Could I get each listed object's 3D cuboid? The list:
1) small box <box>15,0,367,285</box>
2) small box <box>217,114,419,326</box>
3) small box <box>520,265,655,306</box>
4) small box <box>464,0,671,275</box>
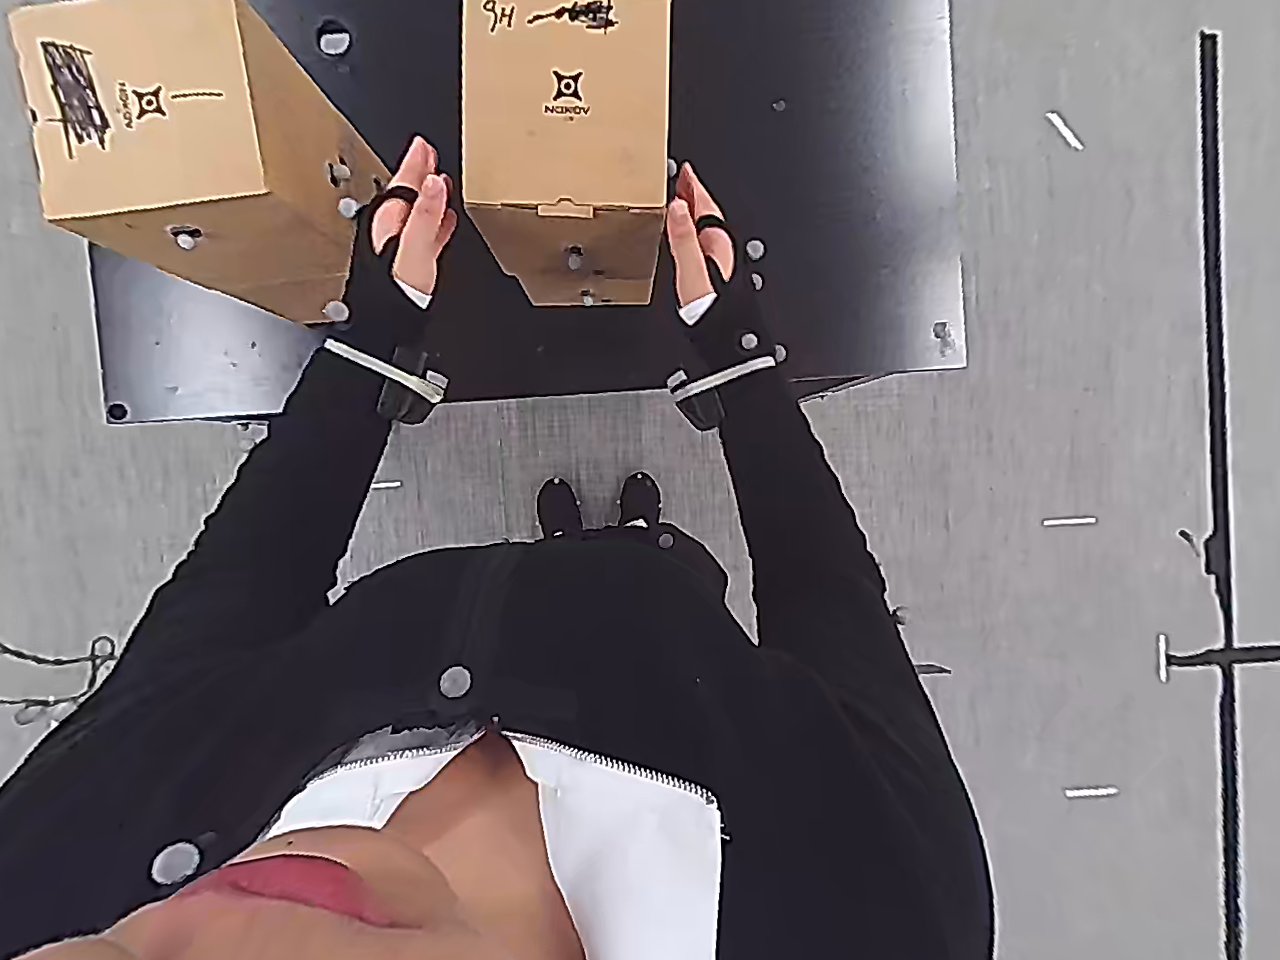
[{"bbox_3d":[-0.389,-0.296,0.503,0.179,0.176,0.168,-9,93,-1],"label":"small box"},{"bbox_3d":[-0.393,-0.305,0.667,0.168,0.176,0.179,-8,93,-1],"label":"small box"},{"bbox_3d":[-0.068,-0.331,0.676,0.168,0.176,0.179,-1,92,-2],"label":"small box"},{"bbox_3d":[-0.060,-0.306,0.513,0.168,0.176,0.179,1,94,-2],"label":"small box"}]
